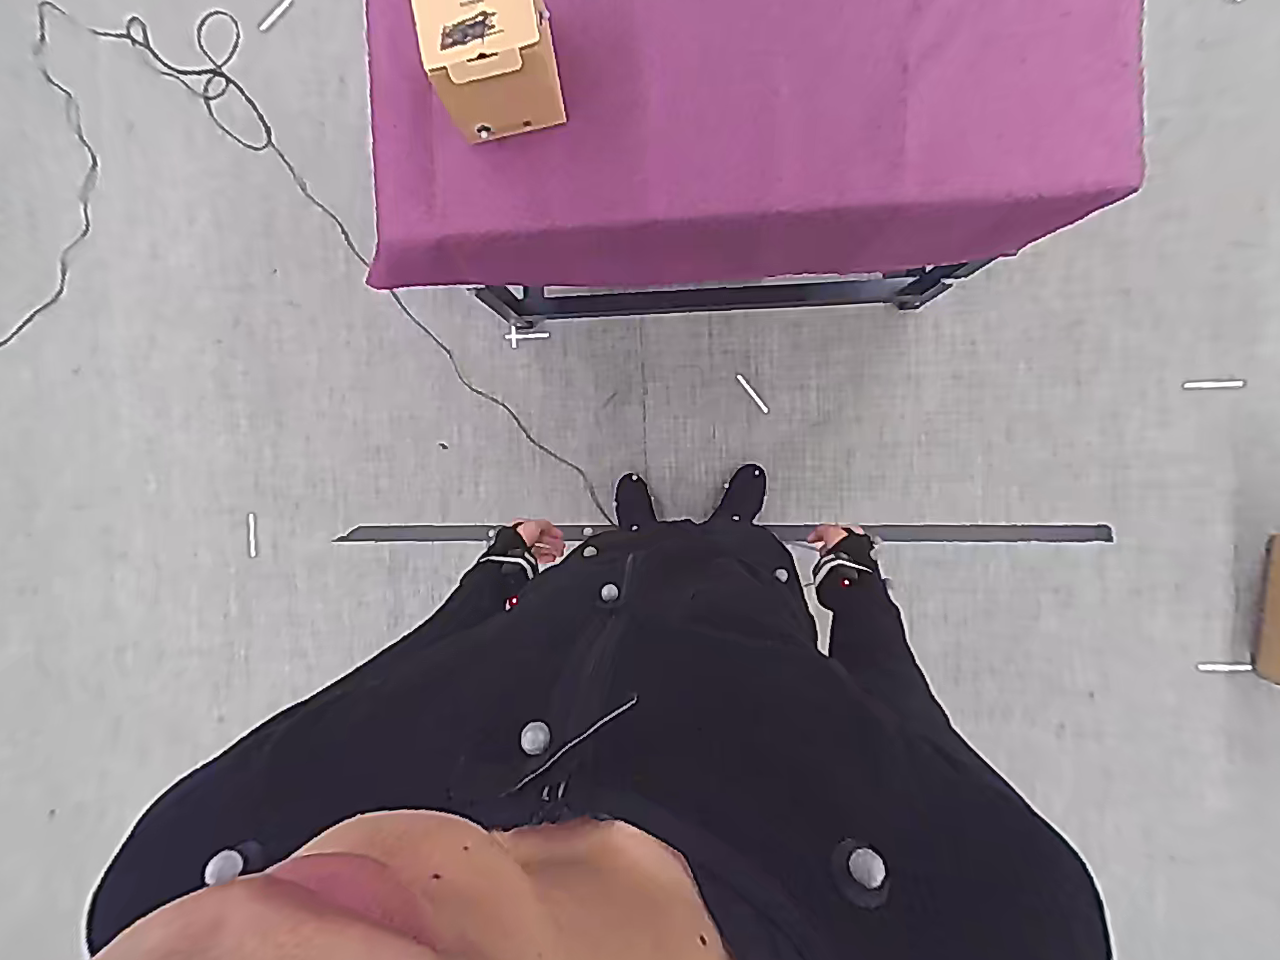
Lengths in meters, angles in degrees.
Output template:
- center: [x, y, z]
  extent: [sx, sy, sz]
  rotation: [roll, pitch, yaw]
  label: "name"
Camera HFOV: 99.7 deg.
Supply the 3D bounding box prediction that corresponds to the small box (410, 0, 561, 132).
- center: [-0.223, -0.655, 0.805]
  extent: [0.168, 0.176, 0.179]
  rotation: [-10, 91, 4]
  label: "small box"
